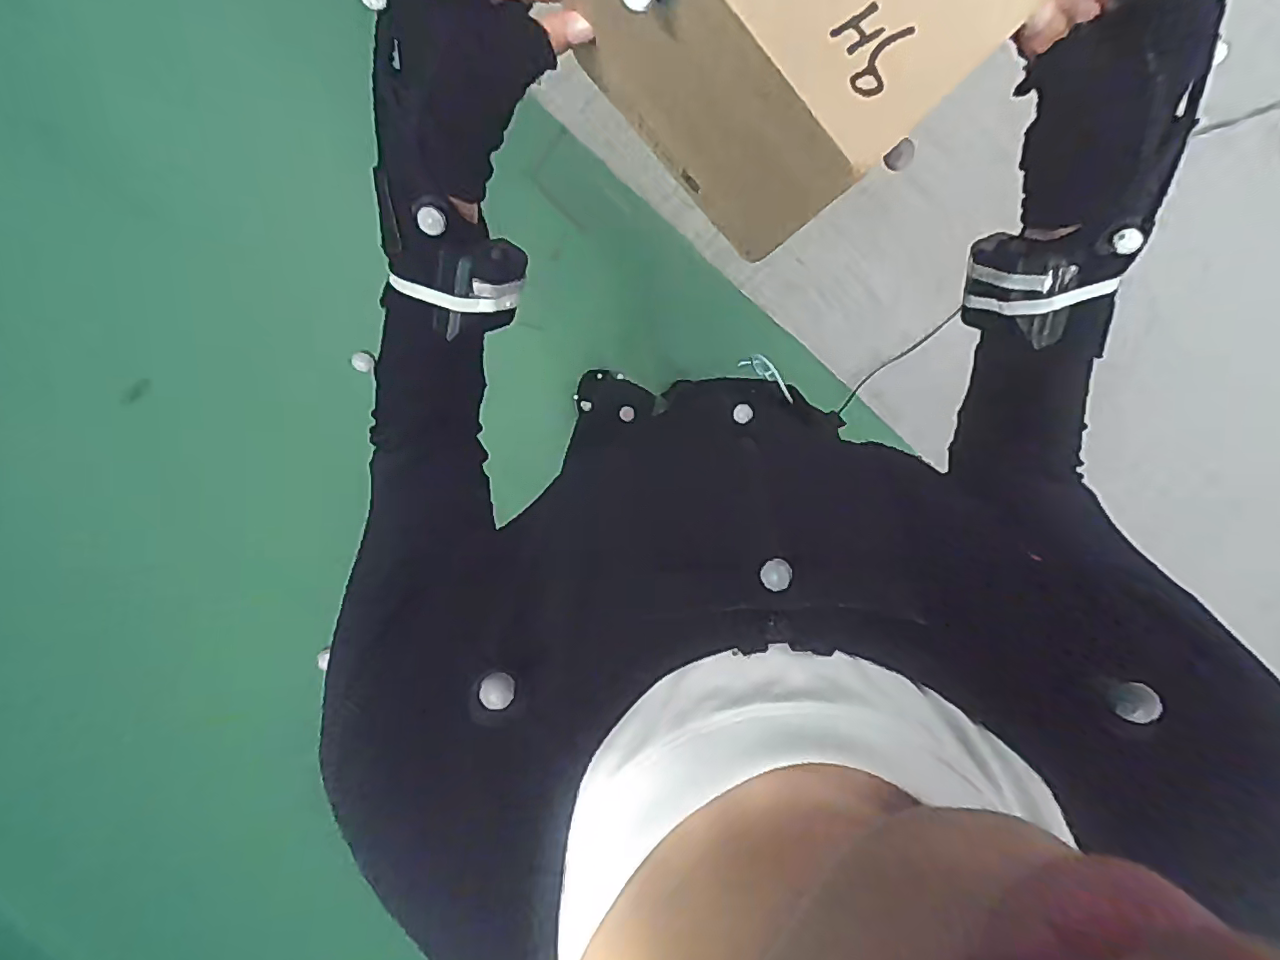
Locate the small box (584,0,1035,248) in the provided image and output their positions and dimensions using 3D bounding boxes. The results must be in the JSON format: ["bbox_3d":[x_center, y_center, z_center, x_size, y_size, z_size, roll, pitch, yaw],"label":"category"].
[{"bbox_3d":[0.082,-0.242,0.247,0.179,0.176,0.168,-42,99,6],"label":"small box"}]
